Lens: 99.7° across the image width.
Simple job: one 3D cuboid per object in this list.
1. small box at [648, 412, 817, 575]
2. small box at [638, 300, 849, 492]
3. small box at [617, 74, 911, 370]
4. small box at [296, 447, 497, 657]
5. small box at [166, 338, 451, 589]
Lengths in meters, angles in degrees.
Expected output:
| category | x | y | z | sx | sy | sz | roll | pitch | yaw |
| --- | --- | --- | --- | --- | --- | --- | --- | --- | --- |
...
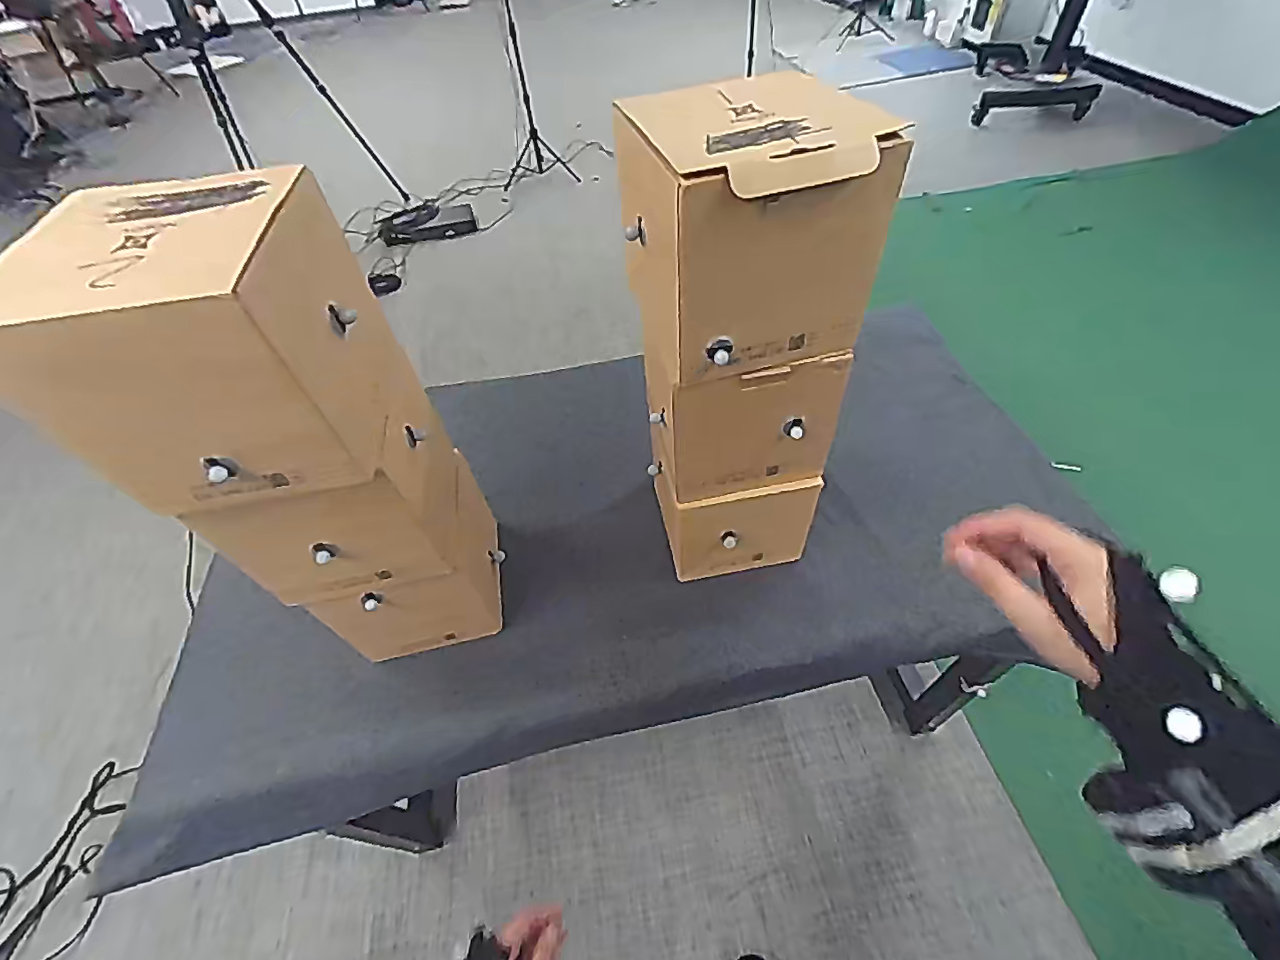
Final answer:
| category | x | y | z | sx | sy | sz | roll | pitch | yaw |
| --- | --- | --- | --- | --- | --- | --- | --- | --- | --- |
| small box | 0.109 | 0.008 | 0.700 | 0.168 | 0.176 | 0.179 | -10 | 50 | -3 |
| small box | 0.097 | -0.102 | 0.581 | 0.168 | 0.176 | 0.179 | -10 | 49 | -4 |
| small box | 0.085 | -0.211 | 0.458 | 0.168 | 0.176 | 0.179 | -14 | 50 | -8 |
| small box | -0.279 | 0.090 | 0.663 | 0.168 | 0.176 | 0.179 | -12 | 50 | -5 |
| small box | -0.294 | -0.009 | 0.532 | 0.168 | 0.176 | 0.179 | -10 | 50 | -5 |
